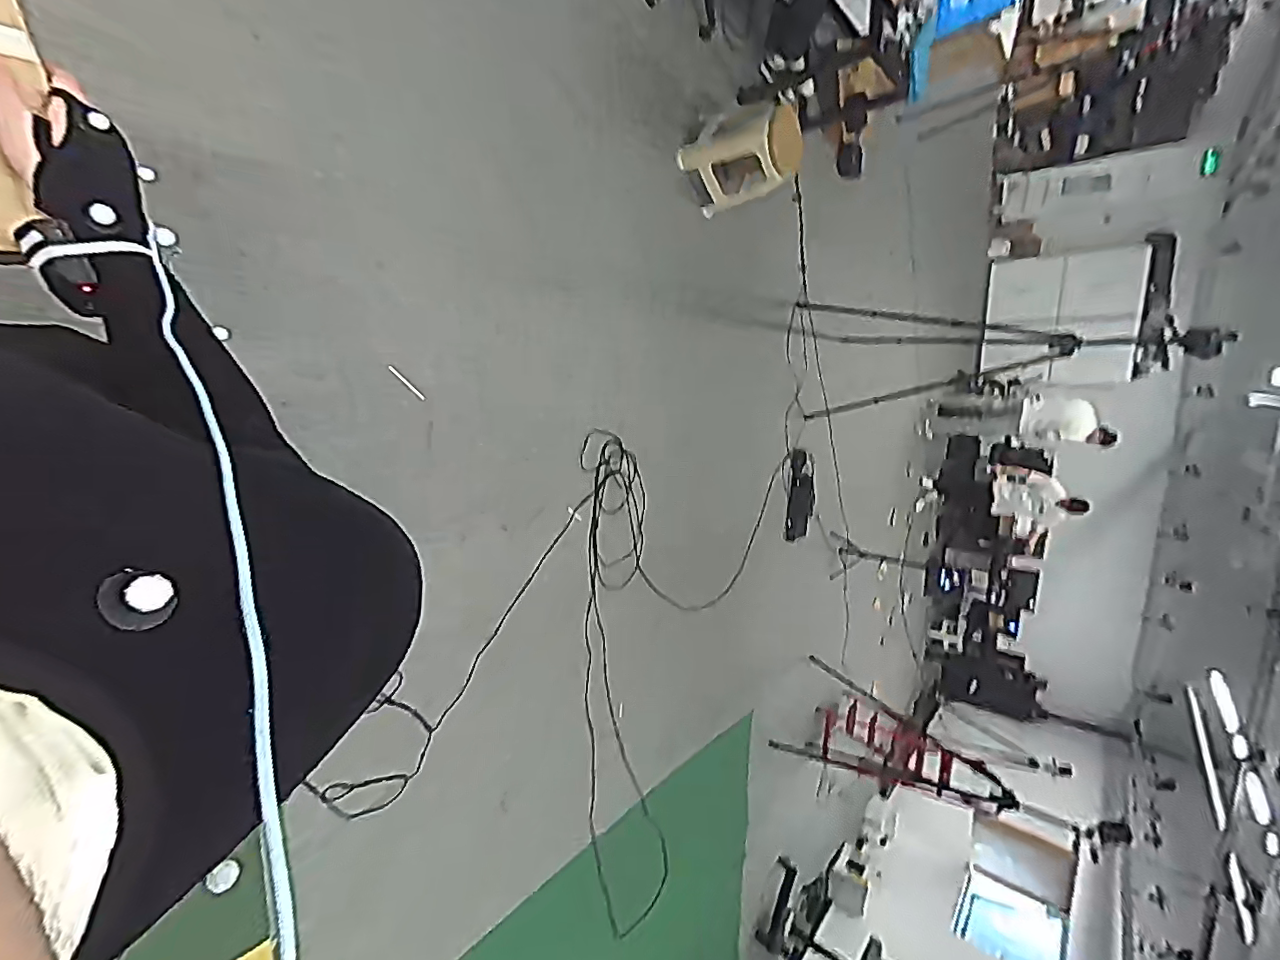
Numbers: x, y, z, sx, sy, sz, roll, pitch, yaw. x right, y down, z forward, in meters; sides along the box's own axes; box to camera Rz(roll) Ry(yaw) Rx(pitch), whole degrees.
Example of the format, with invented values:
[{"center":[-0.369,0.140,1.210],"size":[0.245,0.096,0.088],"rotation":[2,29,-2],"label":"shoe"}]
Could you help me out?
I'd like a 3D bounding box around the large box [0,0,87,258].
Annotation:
[{"center":[-0.757,-0.332,0.391],"size":[0.408,0.320,0.320],"rotation":[-26,122,-48],"label":"large box"}]
